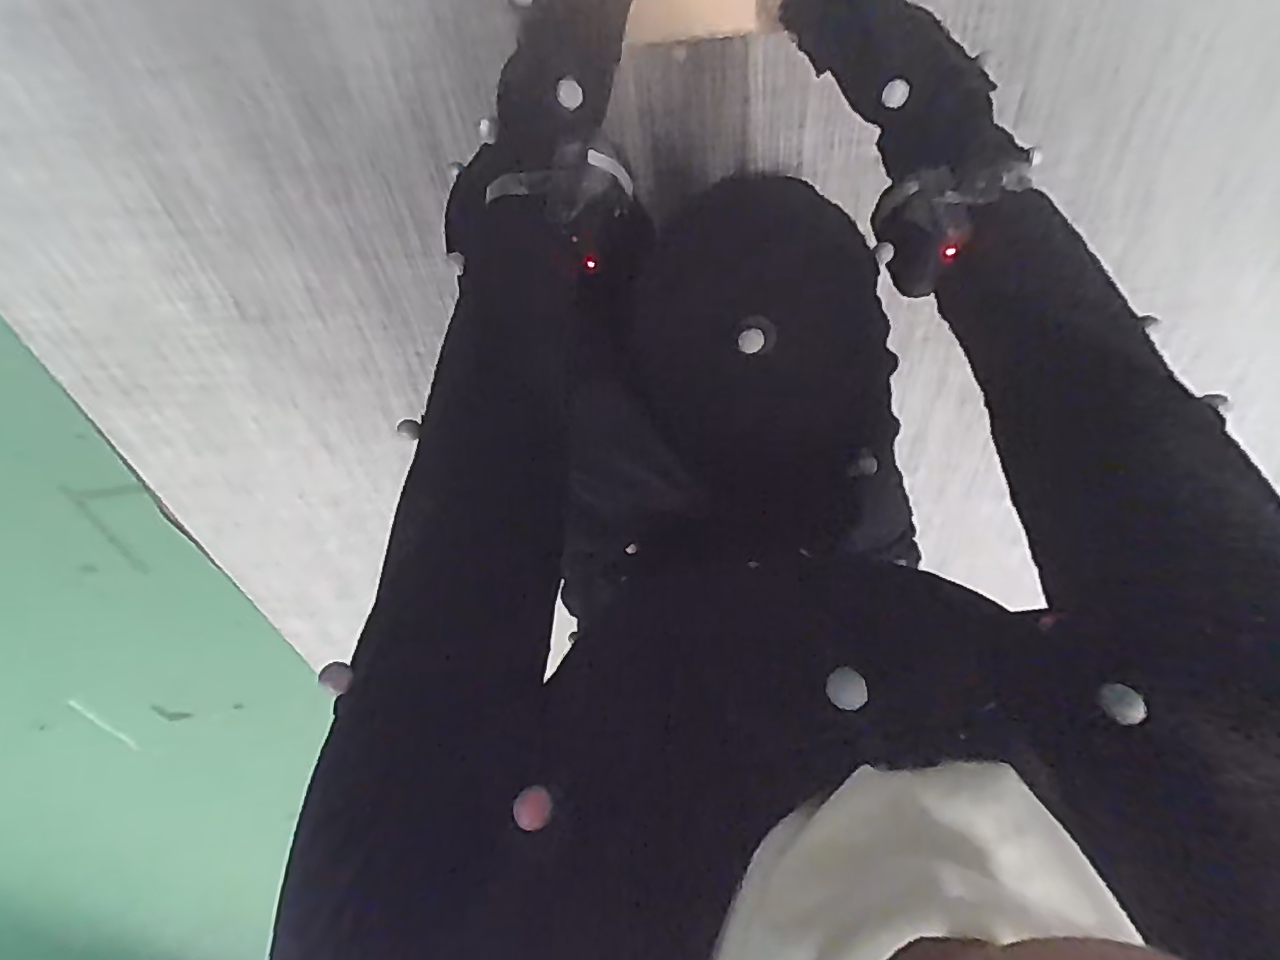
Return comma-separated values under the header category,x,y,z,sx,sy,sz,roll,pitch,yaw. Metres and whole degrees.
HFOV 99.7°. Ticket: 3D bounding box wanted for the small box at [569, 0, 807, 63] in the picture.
category,x,y,z,sx,sy,sz,roll,pitch,yaw
small box,0.030,-0.438,0.421,0.179,0.176,0.168,-4,129,2
